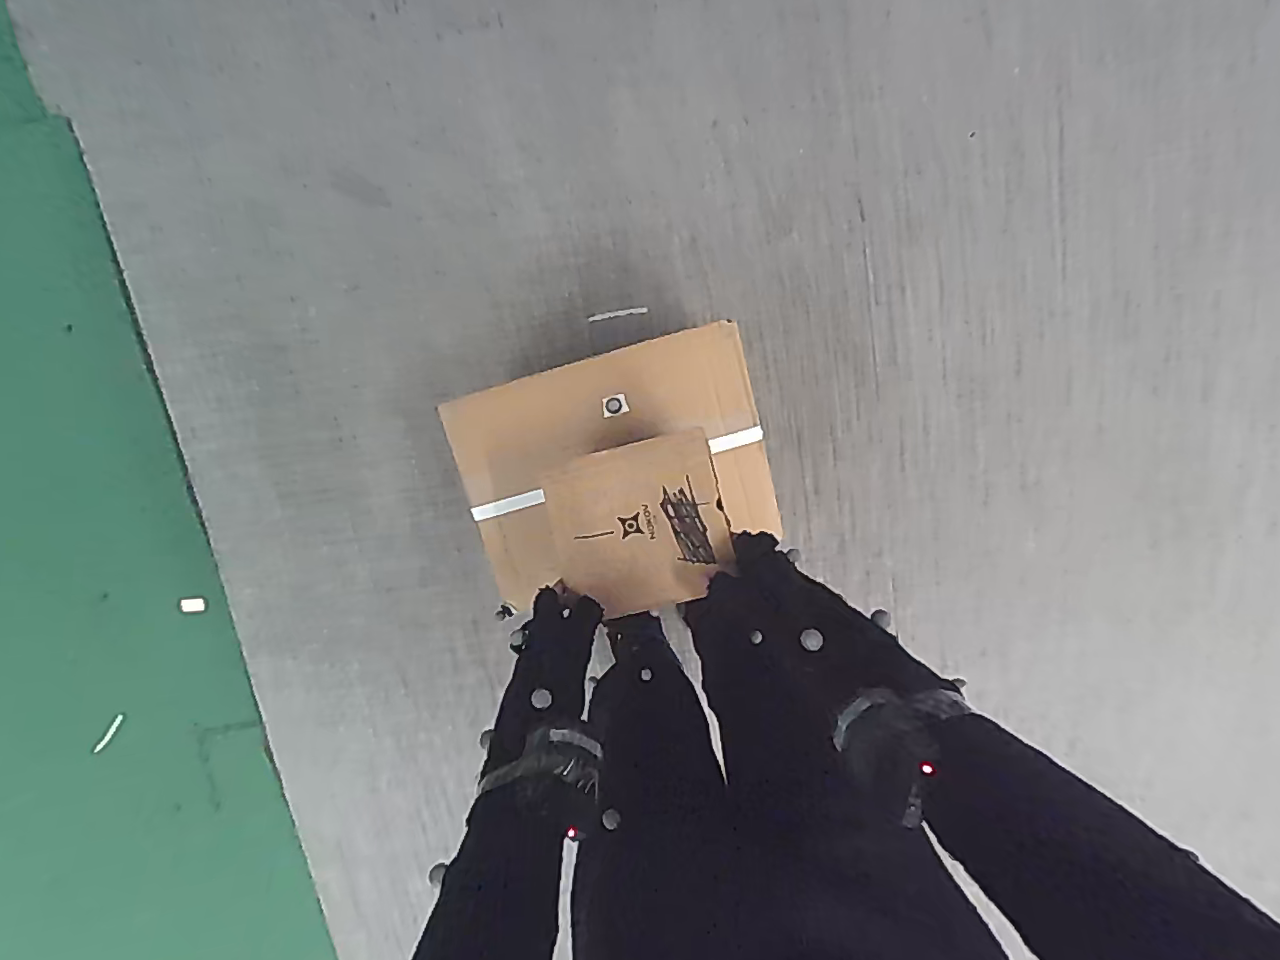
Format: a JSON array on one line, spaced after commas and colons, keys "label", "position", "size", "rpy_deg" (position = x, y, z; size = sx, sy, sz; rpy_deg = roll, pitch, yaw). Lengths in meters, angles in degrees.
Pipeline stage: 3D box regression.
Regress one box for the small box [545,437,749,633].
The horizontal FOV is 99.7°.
[{"label": "small box", "position": [0.009, 0.065, 0.611], "size": [0.179, 0.176, 0.168], "rpy_deg": [-14, 79, 2]}]
